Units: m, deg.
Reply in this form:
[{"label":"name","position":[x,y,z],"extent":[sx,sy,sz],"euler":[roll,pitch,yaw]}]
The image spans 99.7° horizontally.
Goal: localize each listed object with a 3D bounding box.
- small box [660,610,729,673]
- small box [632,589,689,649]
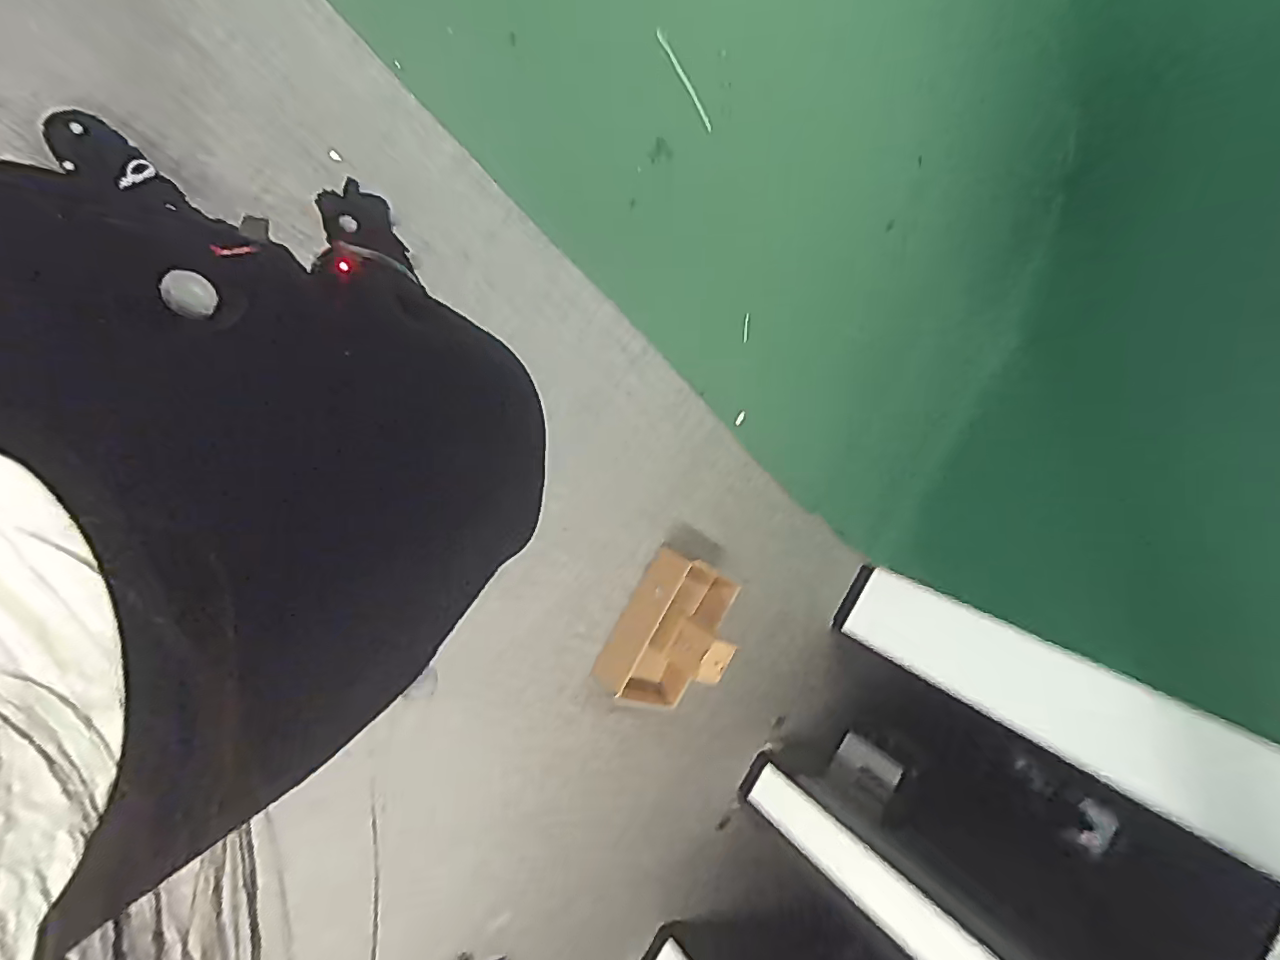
[{"label":"small box","position":[0.210,0.632,2.128],"extent":[0.179,0.176,0.168],"euler":[33,86,-45]},{"label":"small box","position":[0.091,0.578,2.228],"extent":[0.168,0.176,0.179],"euler":[31,88,-46]}]
